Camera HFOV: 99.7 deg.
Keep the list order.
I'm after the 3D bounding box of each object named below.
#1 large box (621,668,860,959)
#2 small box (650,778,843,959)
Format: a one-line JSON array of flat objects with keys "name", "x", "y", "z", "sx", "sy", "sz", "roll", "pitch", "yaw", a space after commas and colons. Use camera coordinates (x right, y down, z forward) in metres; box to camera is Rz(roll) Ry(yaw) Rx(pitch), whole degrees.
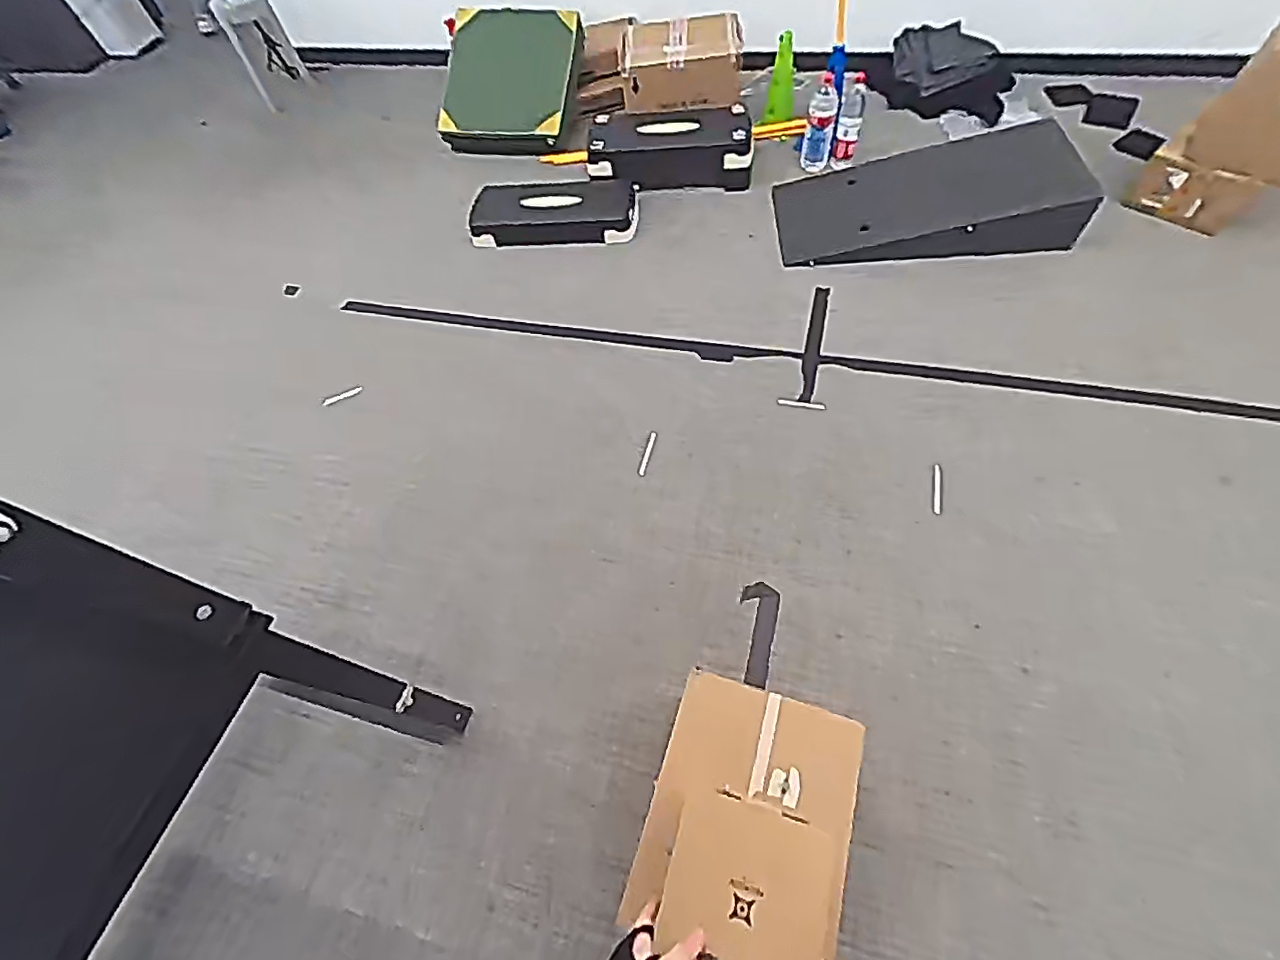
[{"name": "large box", "x": 0.186, "y": 0.621, "z": 0.993, "sx": 0.320, "sy": 0.320, "sz": 0.408, "roll": 15, "pitch": 61, "yaw": 13}, {"name": "small box", "x": 0.119, "y": 0.467, "z": 0.615, "sx": 0.168, "sy": 0.176, "sz": 0.179, "roll": 12, "pitch": 60, "yaw": 15}]
